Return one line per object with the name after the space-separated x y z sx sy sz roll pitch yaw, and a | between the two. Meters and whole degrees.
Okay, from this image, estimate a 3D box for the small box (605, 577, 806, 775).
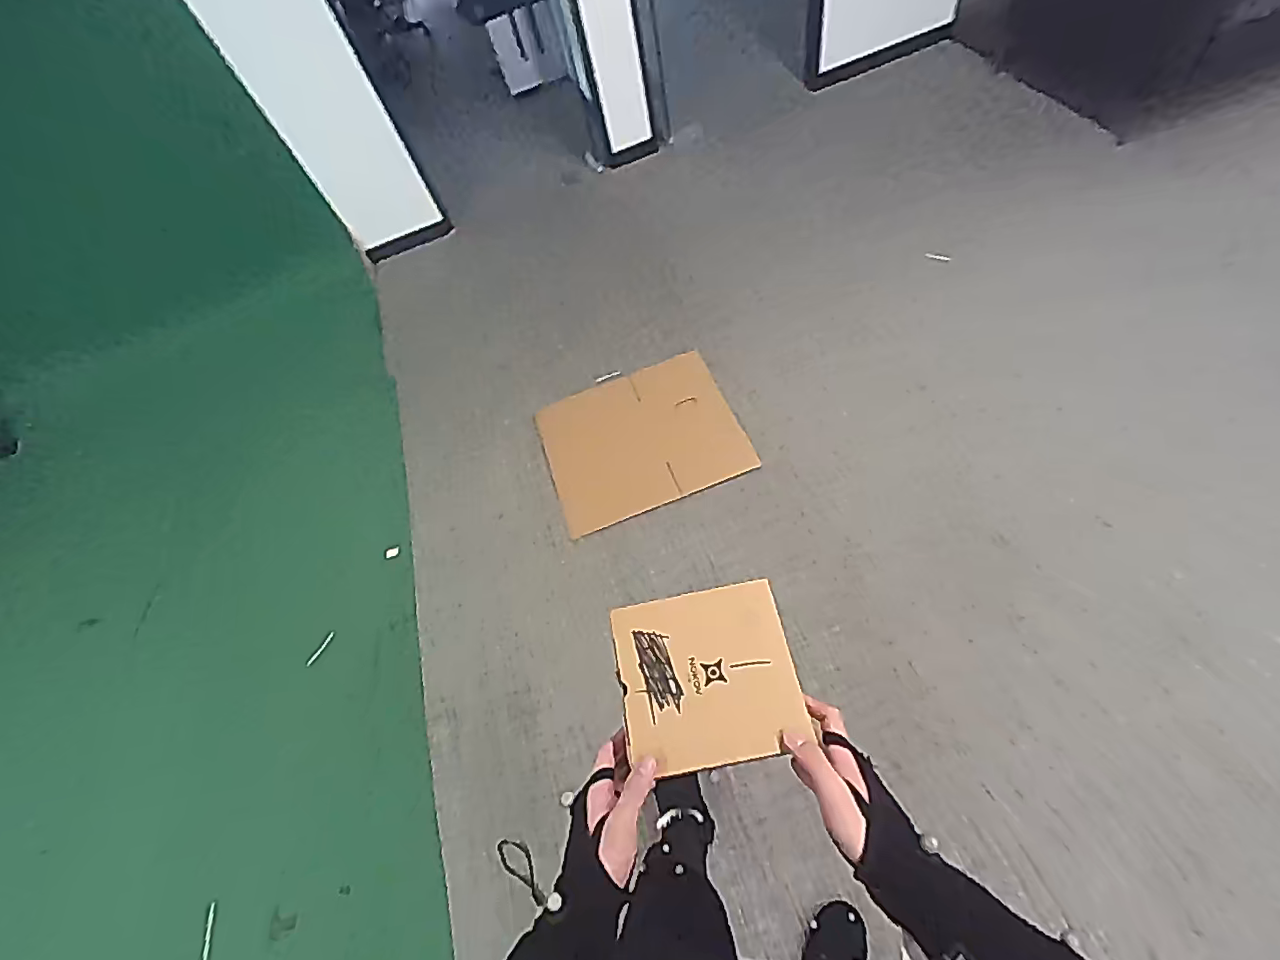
0.070 0.229 0.614 0.179 0.176 0.168 -12 61 1 | small box
